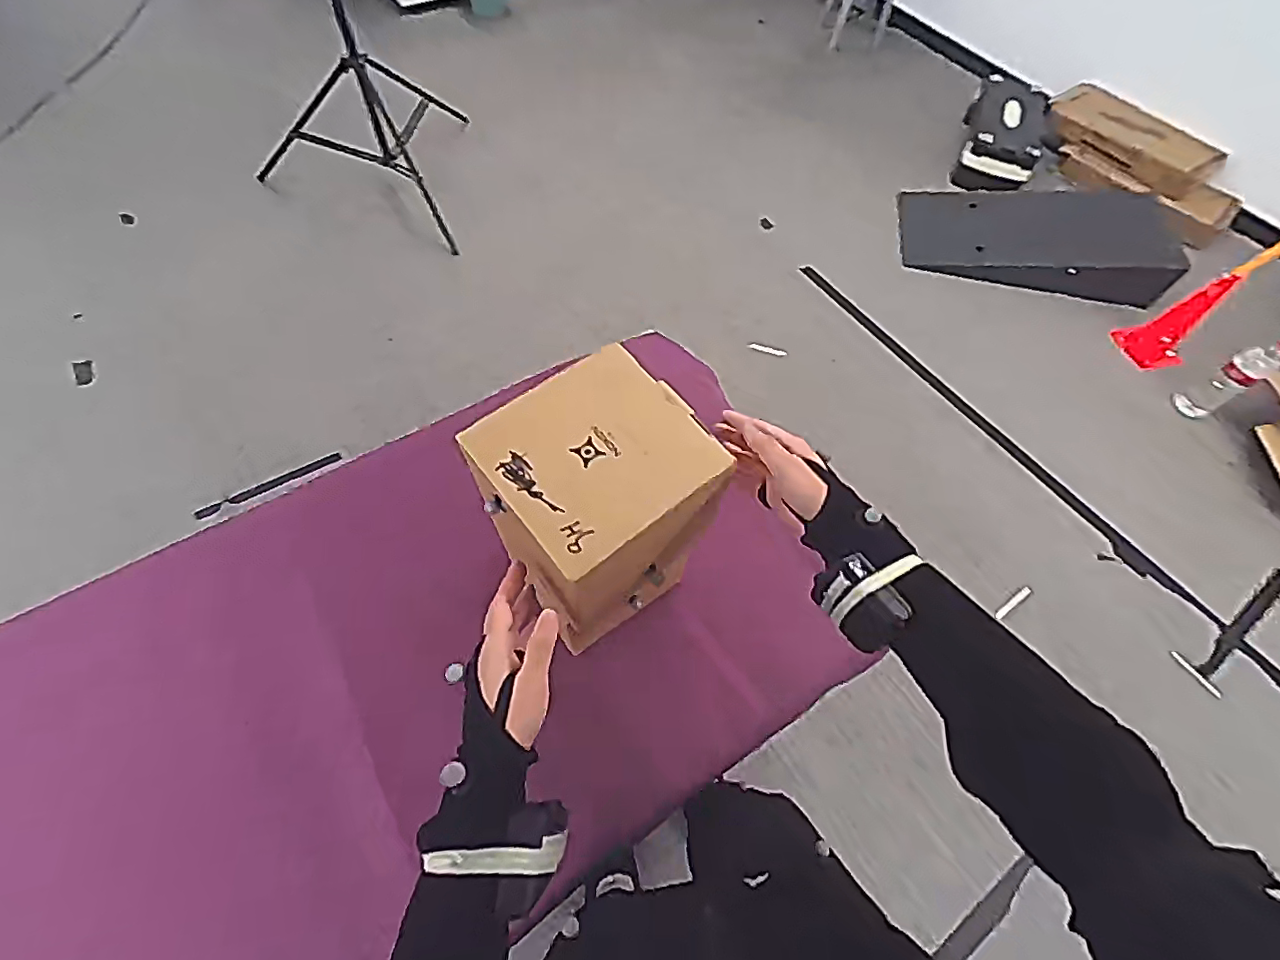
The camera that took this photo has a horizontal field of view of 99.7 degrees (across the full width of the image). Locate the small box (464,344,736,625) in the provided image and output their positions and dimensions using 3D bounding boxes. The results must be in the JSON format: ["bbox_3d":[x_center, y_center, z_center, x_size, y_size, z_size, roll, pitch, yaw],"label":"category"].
[{"bbox_3d":[-0.039,0.010,0.523,0.179,0.176,0.168,-34,68,-20],"label":"small box"}]
